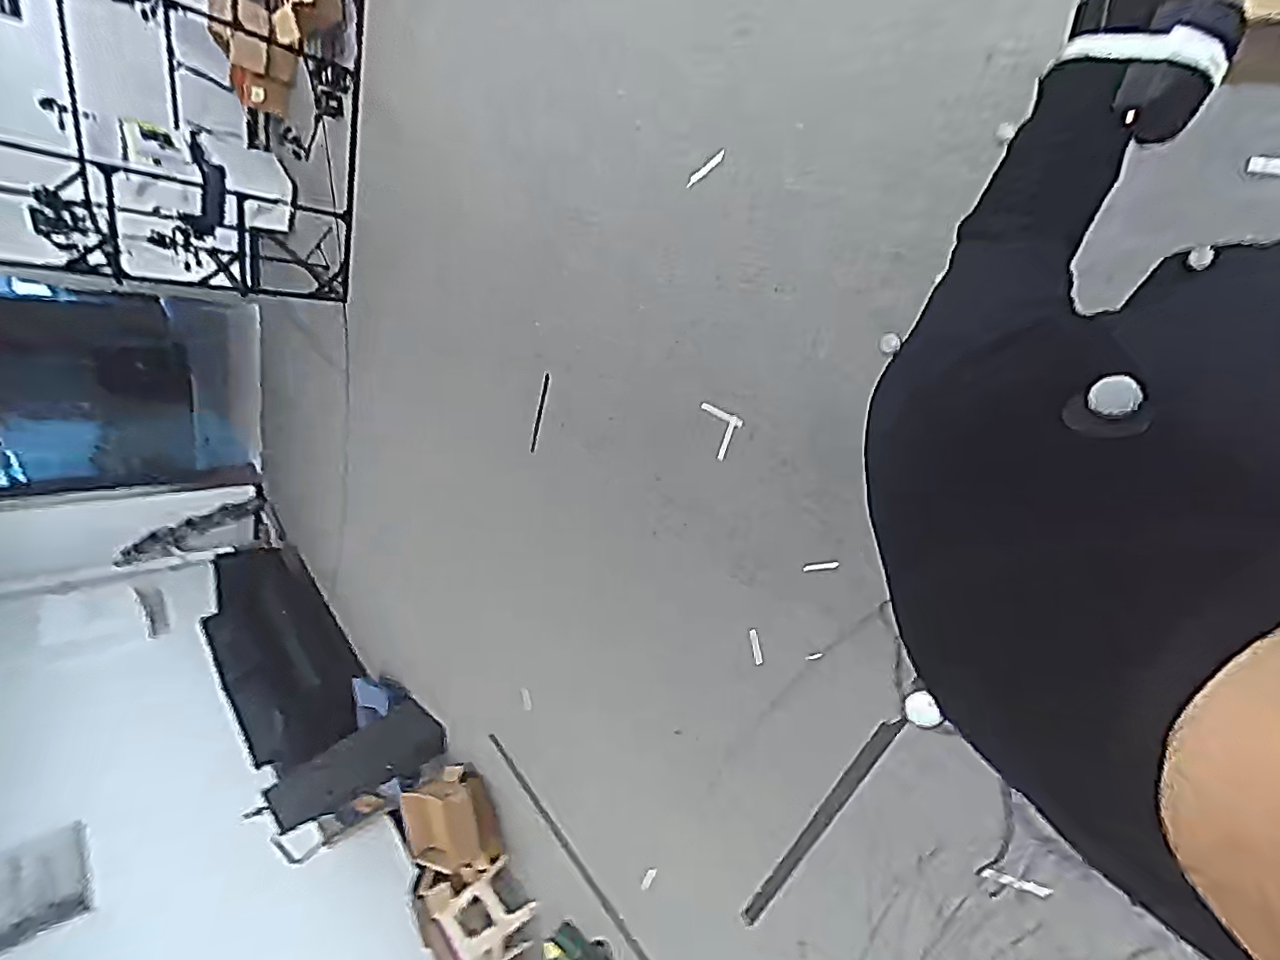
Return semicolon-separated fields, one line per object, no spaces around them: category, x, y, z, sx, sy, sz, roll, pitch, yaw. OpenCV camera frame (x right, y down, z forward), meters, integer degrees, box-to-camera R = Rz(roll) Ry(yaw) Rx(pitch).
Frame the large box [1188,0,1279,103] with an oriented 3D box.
large box;0.624;-0.400;0.278;0.408;0.320;0.320;28;129;33
